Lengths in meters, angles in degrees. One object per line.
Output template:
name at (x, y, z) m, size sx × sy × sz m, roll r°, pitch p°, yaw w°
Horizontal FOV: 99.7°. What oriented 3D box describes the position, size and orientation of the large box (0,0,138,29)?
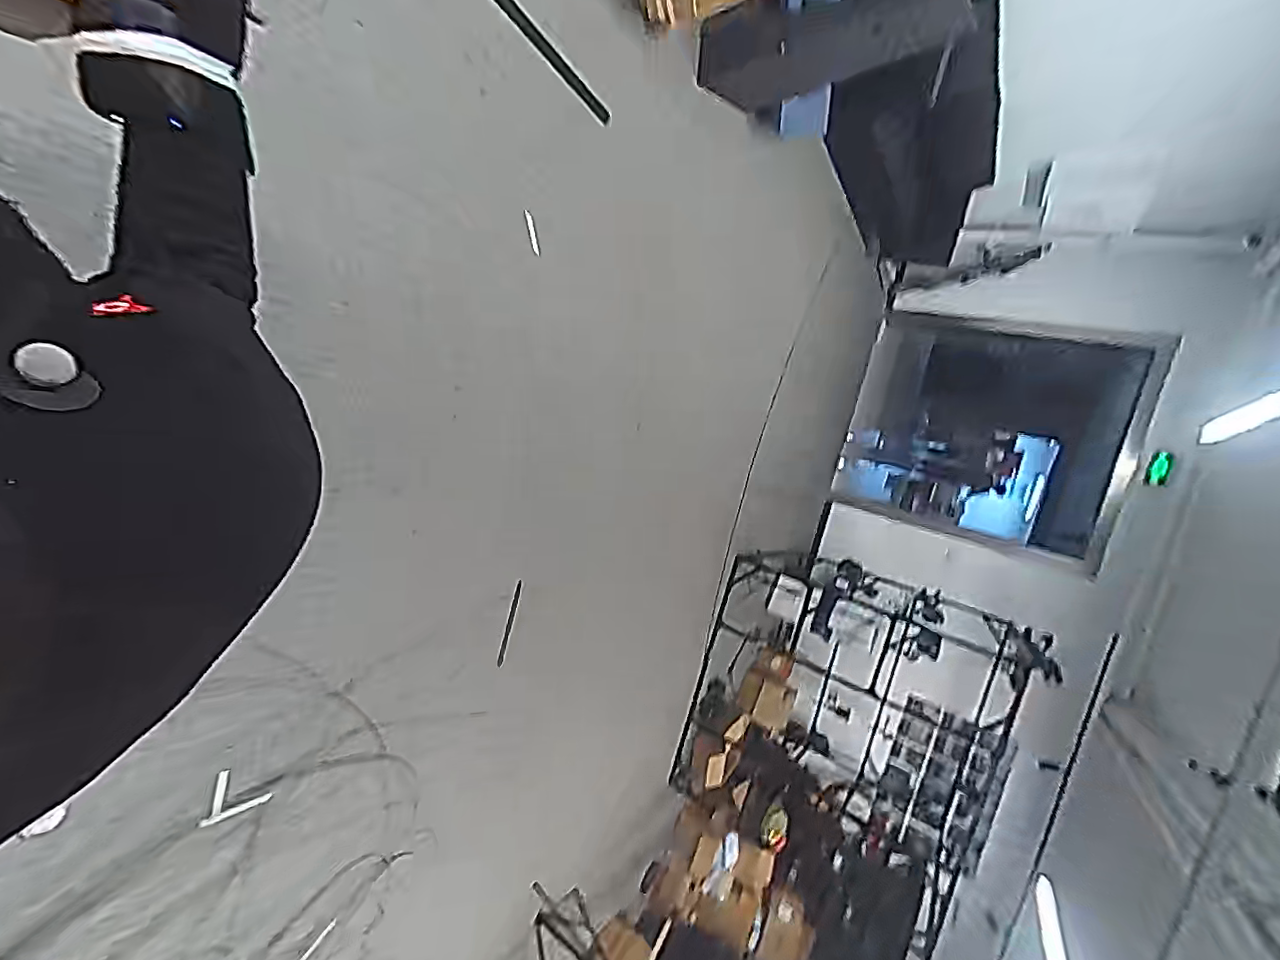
large box at (-0.517, -0.477, 0.219) m, size 0.408 × 0.320 × 0.320 m, roll -8°, pitch 120°, yaw -57°
